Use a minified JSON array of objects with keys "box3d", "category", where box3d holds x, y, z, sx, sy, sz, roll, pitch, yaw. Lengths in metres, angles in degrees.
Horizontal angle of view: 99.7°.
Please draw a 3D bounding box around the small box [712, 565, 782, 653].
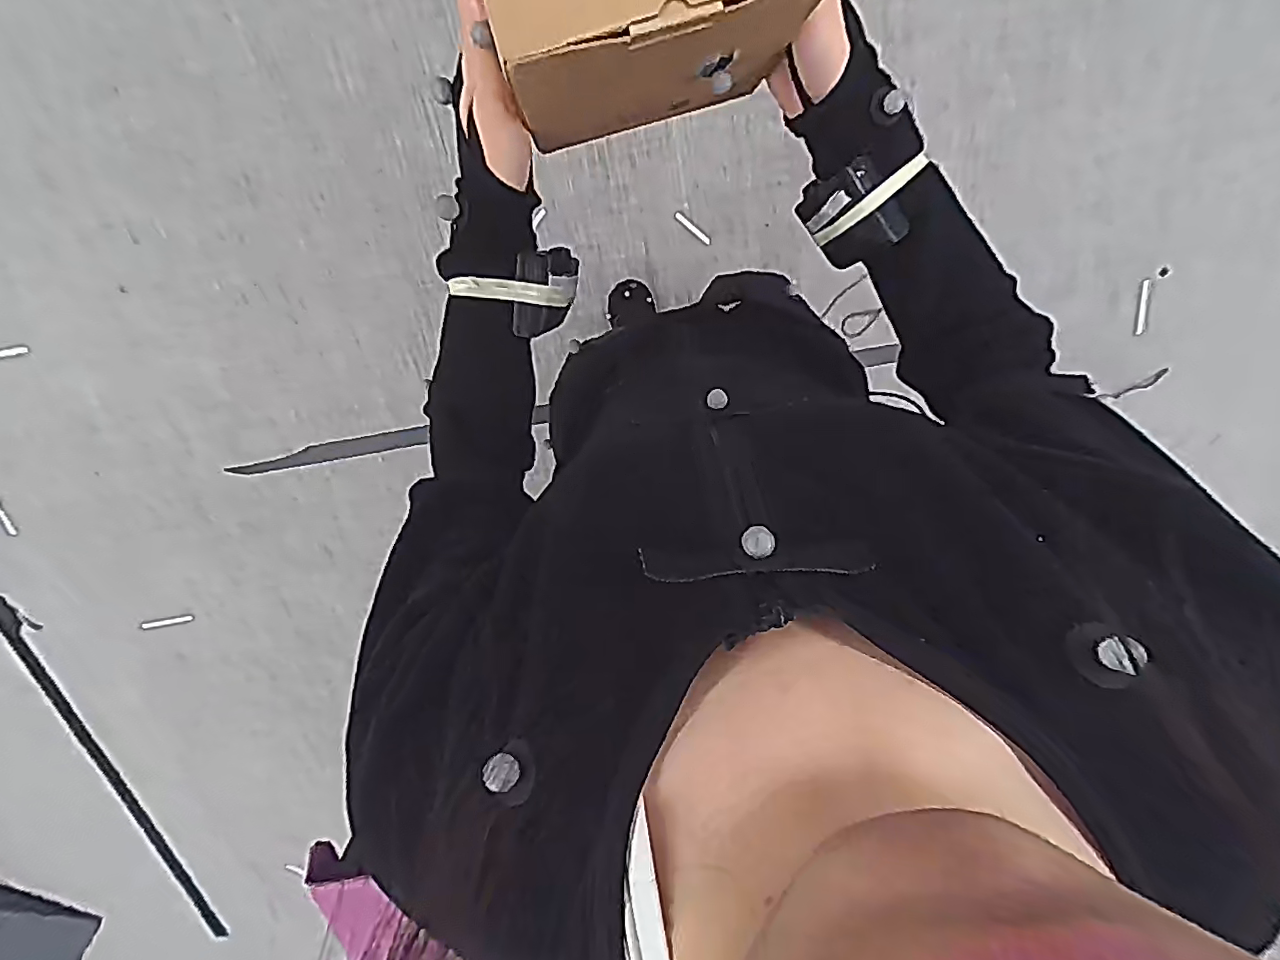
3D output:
[{"box3d":[0.310,0.374,1.583,0.168,0.176,0.179,-9,111,0],"category":"small box"}]
